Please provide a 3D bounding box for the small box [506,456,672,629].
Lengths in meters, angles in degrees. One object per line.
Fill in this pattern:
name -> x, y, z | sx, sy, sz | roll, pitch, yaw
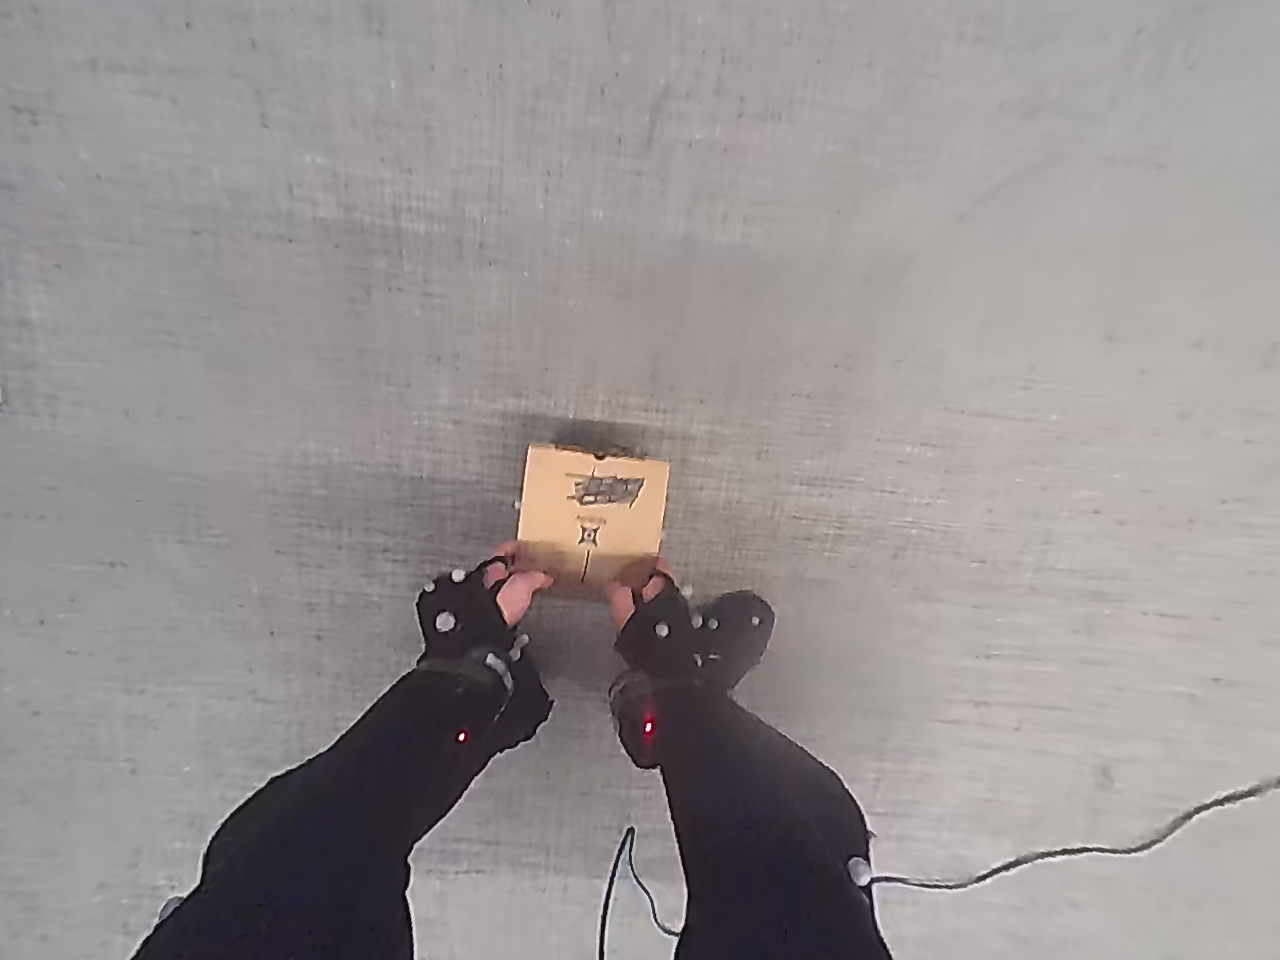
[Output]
small box -> -0.062, 0.066, 0.672 | 0.168, 0.176, 0.179 | 7, 92, -4
